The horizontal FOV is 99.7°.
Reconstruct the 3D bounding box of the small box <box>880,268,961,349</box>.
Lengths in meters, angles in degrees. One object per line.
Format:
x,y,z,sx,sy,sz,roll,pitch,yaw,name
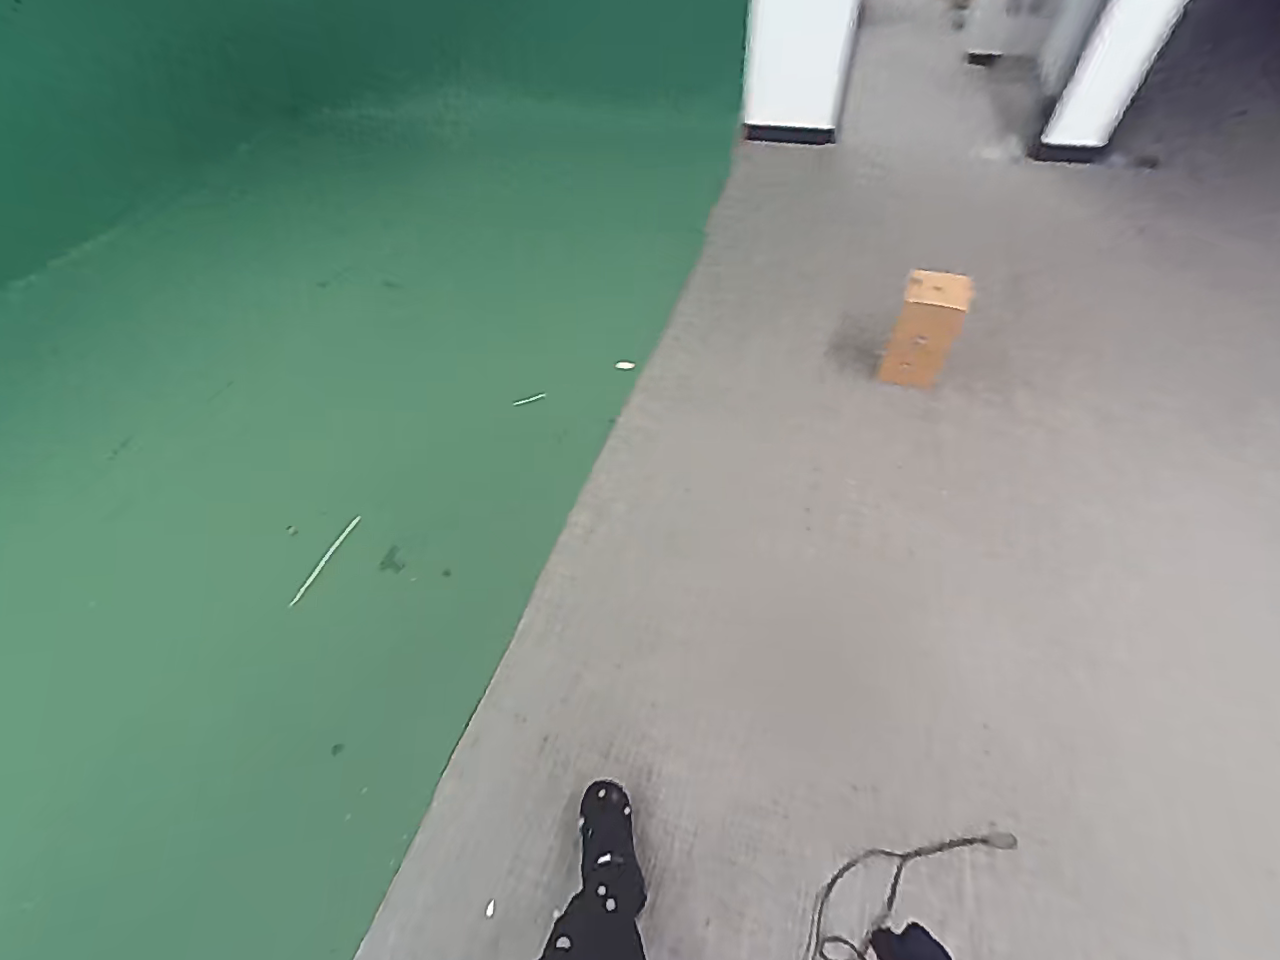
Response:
0.891,-0.542,1.721,0.179,0.176,0.168,16,58,16,small box

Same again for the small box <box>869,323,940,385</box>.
0.905,-0.447,1.854,0.179,0.176,0.168,13,58,13,small box
